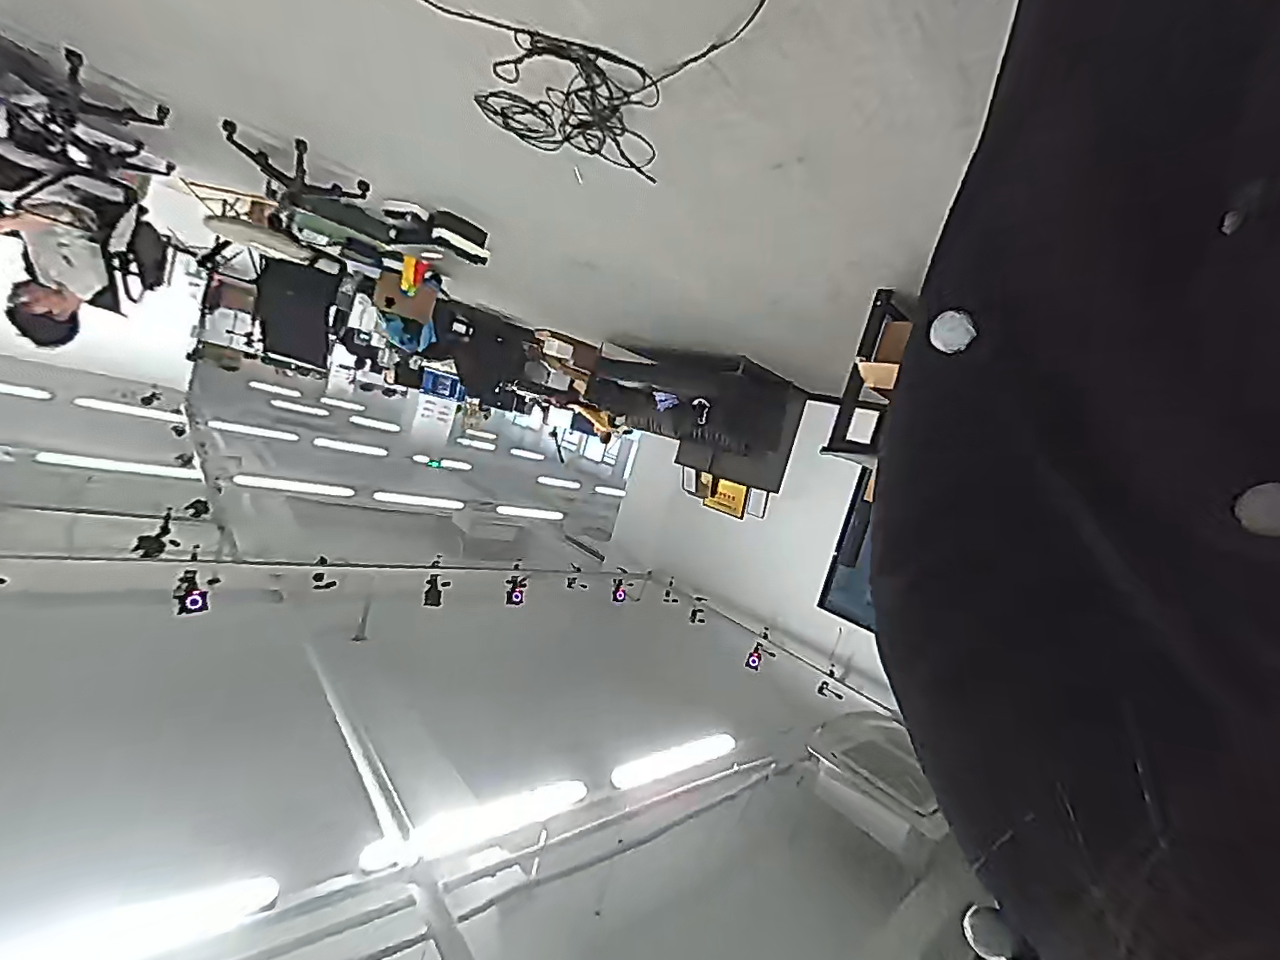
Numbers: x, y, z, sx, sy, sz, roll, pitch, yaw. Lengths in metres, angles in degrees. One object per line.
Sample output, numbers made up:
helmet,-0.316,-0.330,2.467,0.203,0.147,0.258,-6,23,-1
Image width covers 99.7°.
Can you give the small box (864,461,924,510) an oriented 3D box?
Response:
small box,1.134,0.024,2.405,0.179,0.176,0.168,12,-173,-45
